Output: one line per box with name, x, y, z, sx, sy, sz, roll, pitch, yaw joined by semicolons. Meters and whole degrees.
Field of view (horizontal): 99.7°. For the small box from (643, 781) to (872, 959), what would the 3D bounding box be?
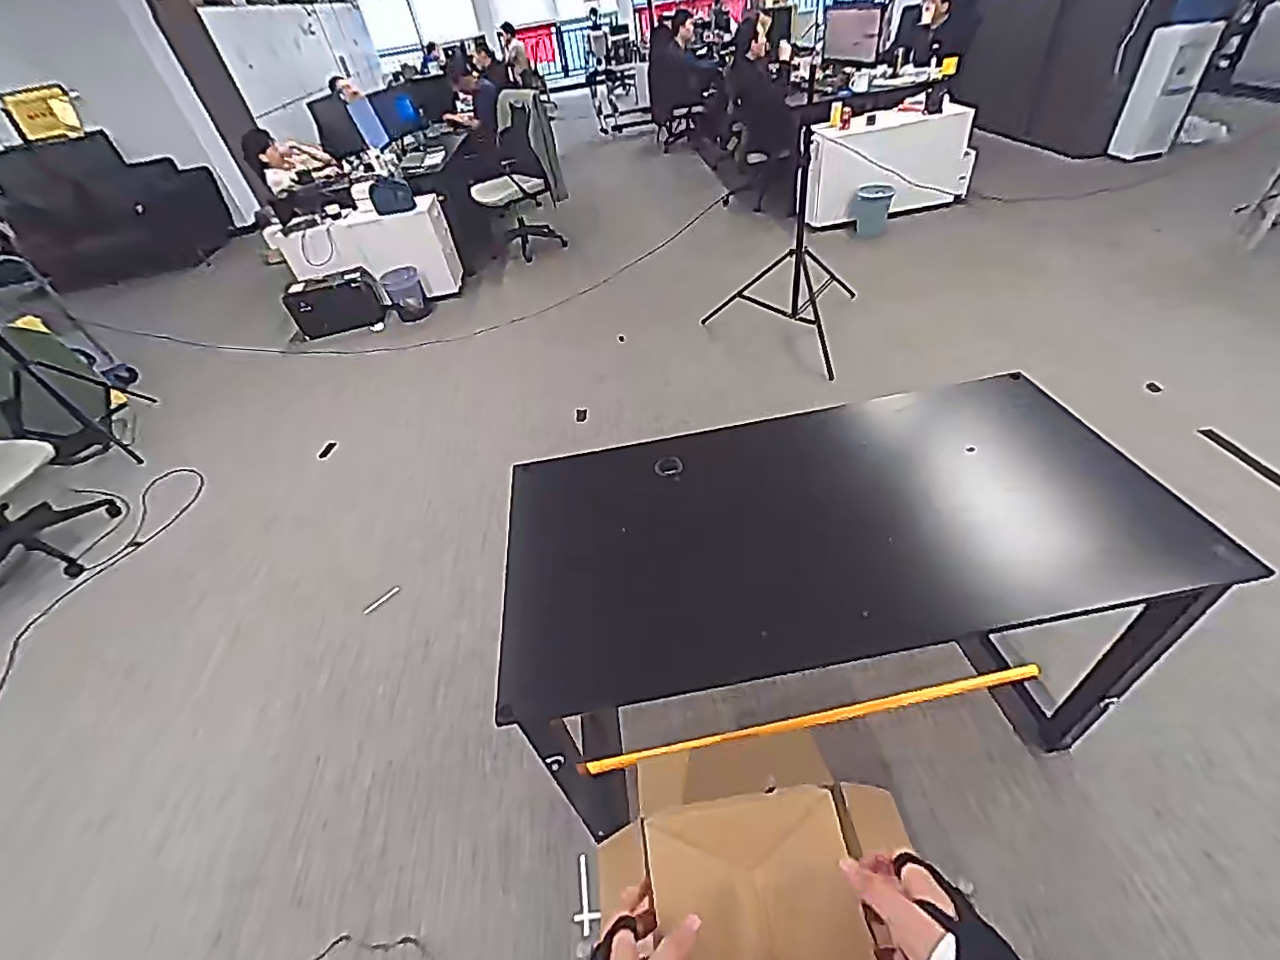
small box;0.112;0.406;0.529;0.179;0.176;0.168;-13;61;4
